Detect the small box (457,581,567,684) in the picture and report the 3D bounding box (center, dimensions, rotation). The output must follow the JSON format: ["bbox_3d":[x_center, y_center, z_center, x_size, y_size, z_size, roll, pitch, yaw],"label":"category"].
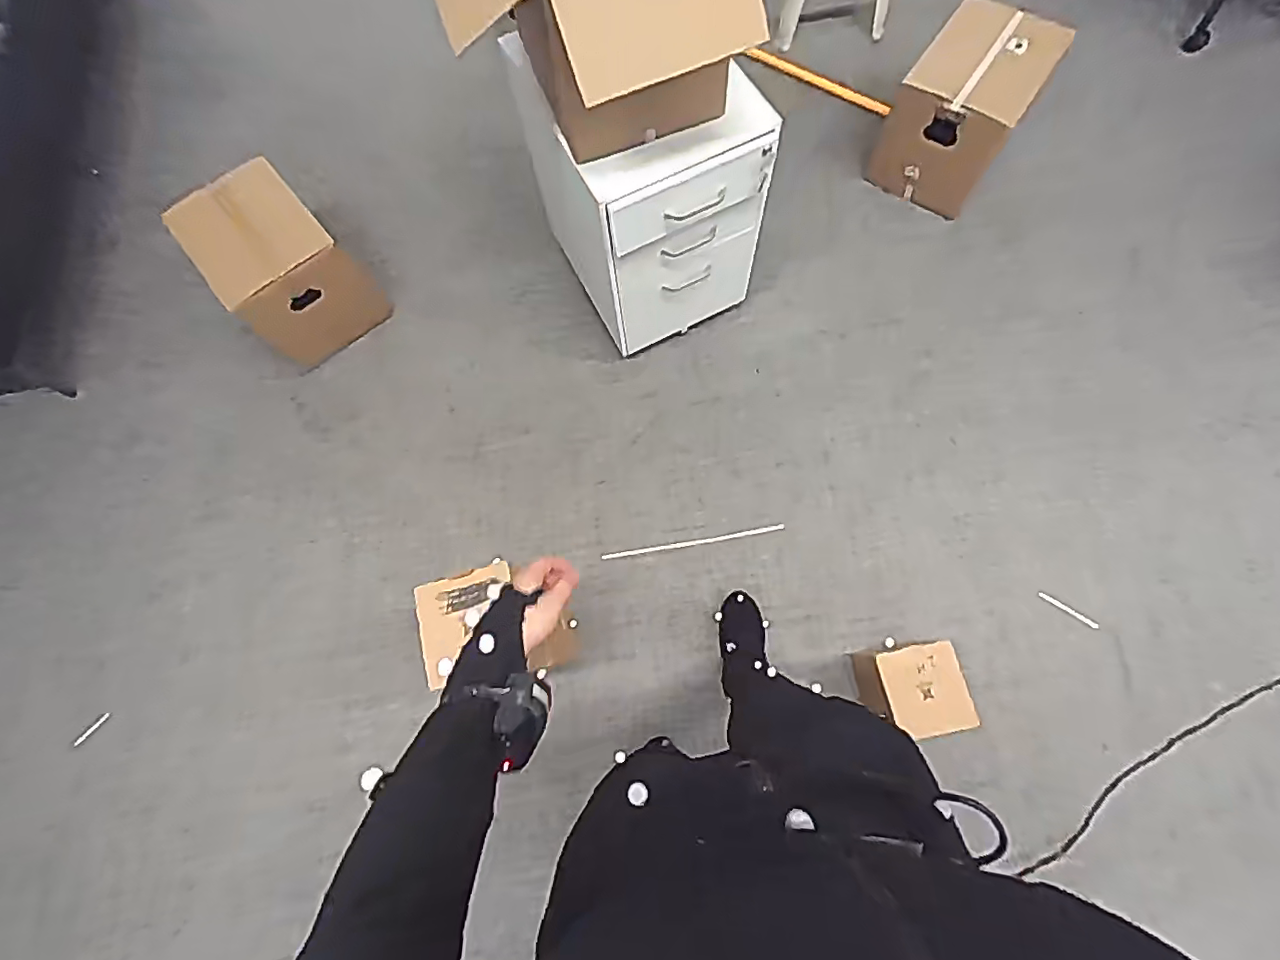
[{"bbox_3d":[-0.259,0.319,1.133,0.179,0.176,0.168,-15,71,1],"label":"small box"}]

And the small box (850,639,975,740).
[{"bbox_3d":[0.591,0.455,1.197,0.168,0.176,0.179,-12,72,0],"label":"small box"}]

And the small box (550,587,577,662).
[{"bbox_3d":[-0.251,0.359,1.291,0.179,0.176,0.168,-11,72,0],"label":"small box"}]
